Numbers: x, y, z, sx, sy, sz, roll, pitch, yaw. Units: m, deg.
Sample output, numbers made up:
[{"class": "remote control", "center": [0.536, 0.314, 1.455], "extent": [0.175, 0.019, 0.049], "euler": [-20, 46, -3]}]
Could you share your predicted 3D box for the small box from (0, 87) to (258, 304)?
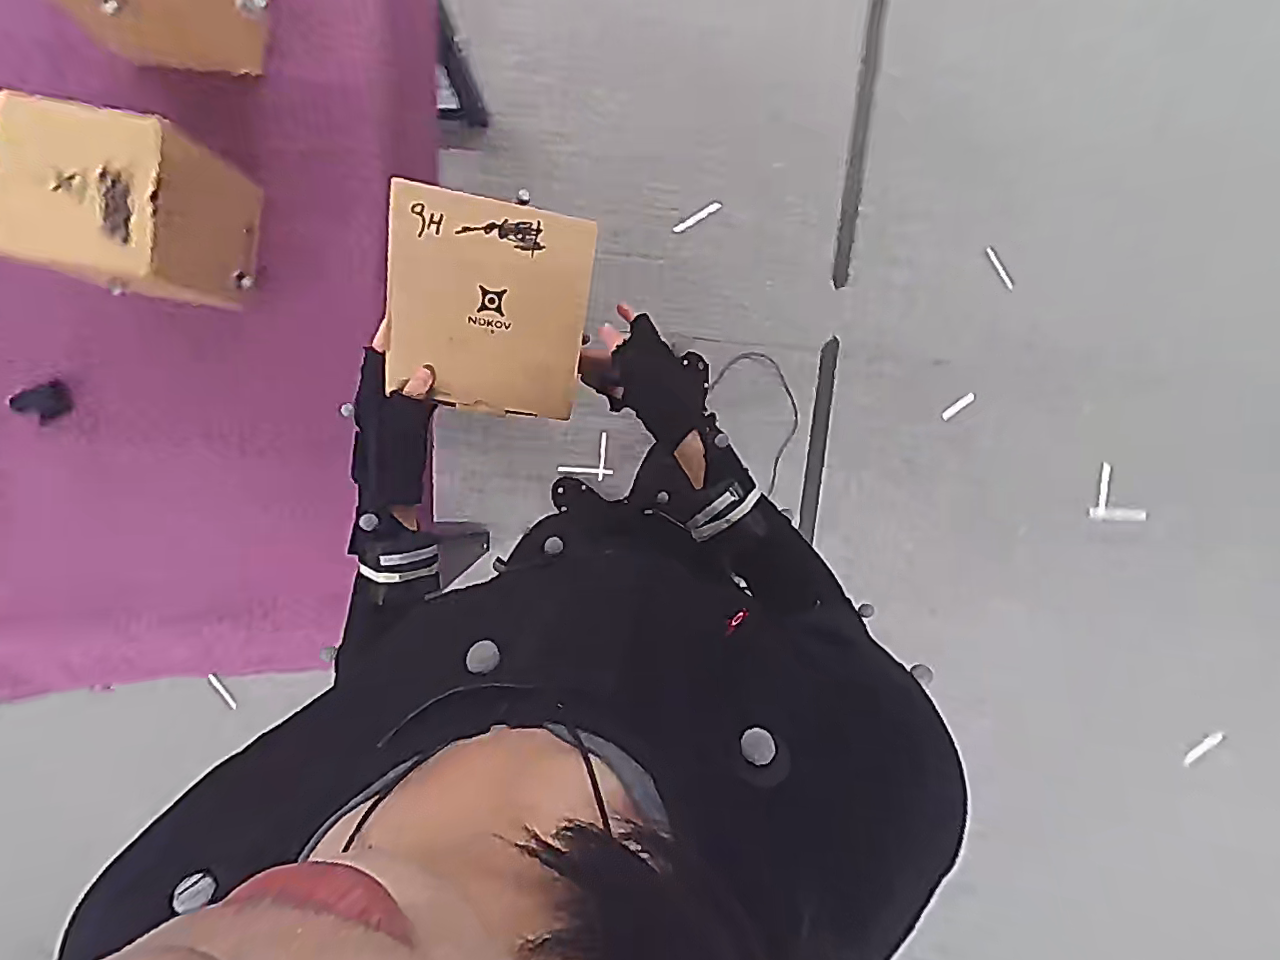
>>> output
[{"class": "small box", "center": [-0.605, -0.322, 0.652], "extent": [0.179, 0.176, 0.168], "euler": [9, 94, -2]}]

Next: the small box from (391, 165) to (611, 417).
[{"class": "small box", "center": [-0.131, -0.180, 0.531], "extent": [0.168, 0.176, 0.179], "euler": [9, 111, -13]}]

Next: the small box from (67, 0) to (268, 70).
[{"class": "small box", "center": [-0.576, -0.623, 0.632], "extent": [0.179, 0.176, 0.168], "euler": [4, 96, -3]}]
